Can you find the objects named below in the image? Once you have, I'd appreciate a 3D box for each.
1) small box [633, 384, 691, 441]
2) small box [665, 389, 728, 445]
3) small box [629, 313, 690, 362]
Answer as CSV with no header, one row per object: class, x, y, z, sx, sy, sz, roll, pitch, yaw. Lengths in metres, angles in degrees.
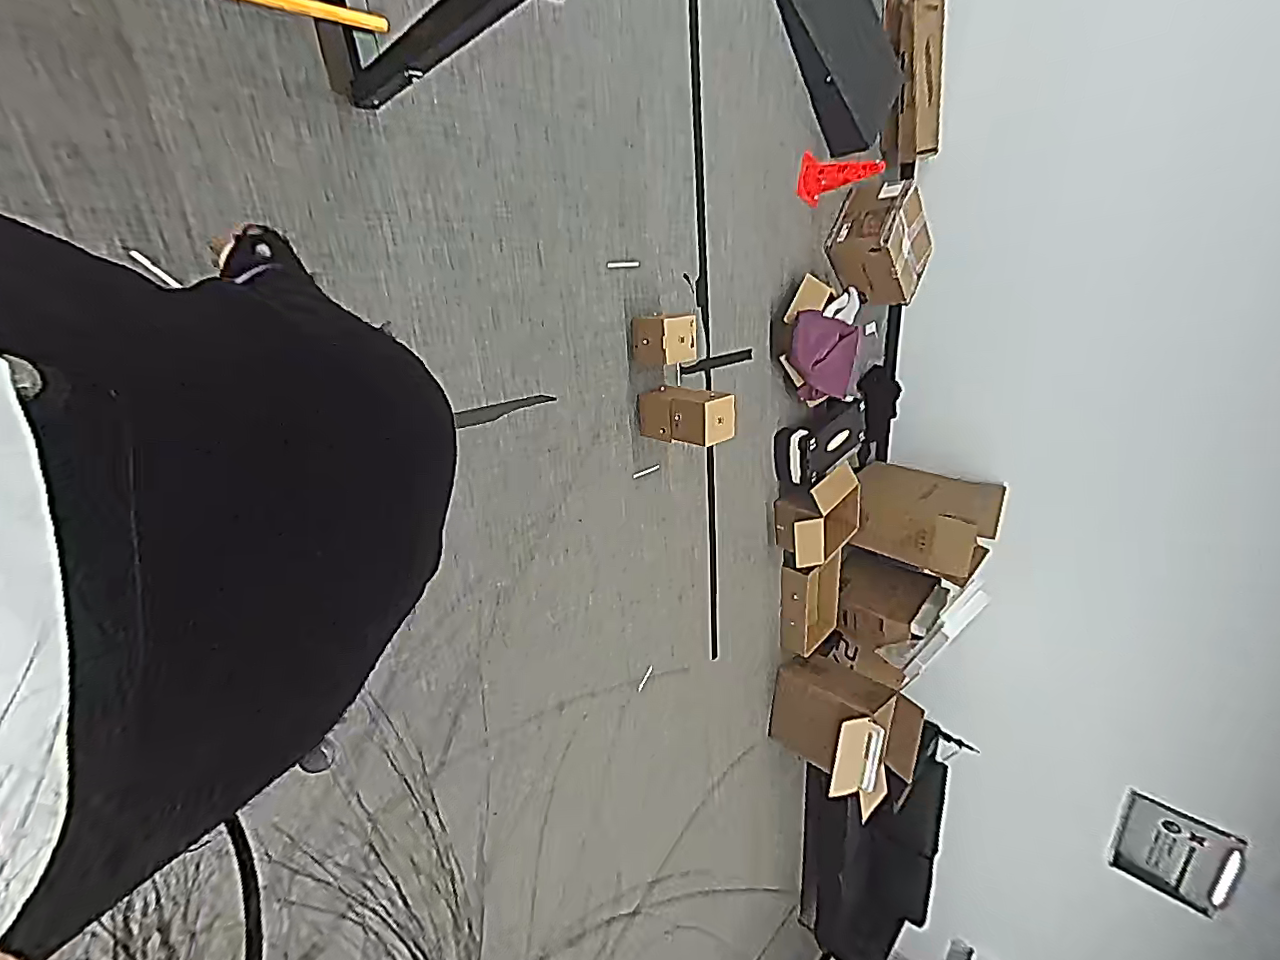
small box,0.090,-0.269,2.135,0.168,0.176,0.179,-25,120,-39
small box,0.213,-0.242,2.032,0.179,0.176,0.168,-21,117,-39
small box,0.069,-0.536,2.028,0.179,0.176,0.168,-20,116,-40
